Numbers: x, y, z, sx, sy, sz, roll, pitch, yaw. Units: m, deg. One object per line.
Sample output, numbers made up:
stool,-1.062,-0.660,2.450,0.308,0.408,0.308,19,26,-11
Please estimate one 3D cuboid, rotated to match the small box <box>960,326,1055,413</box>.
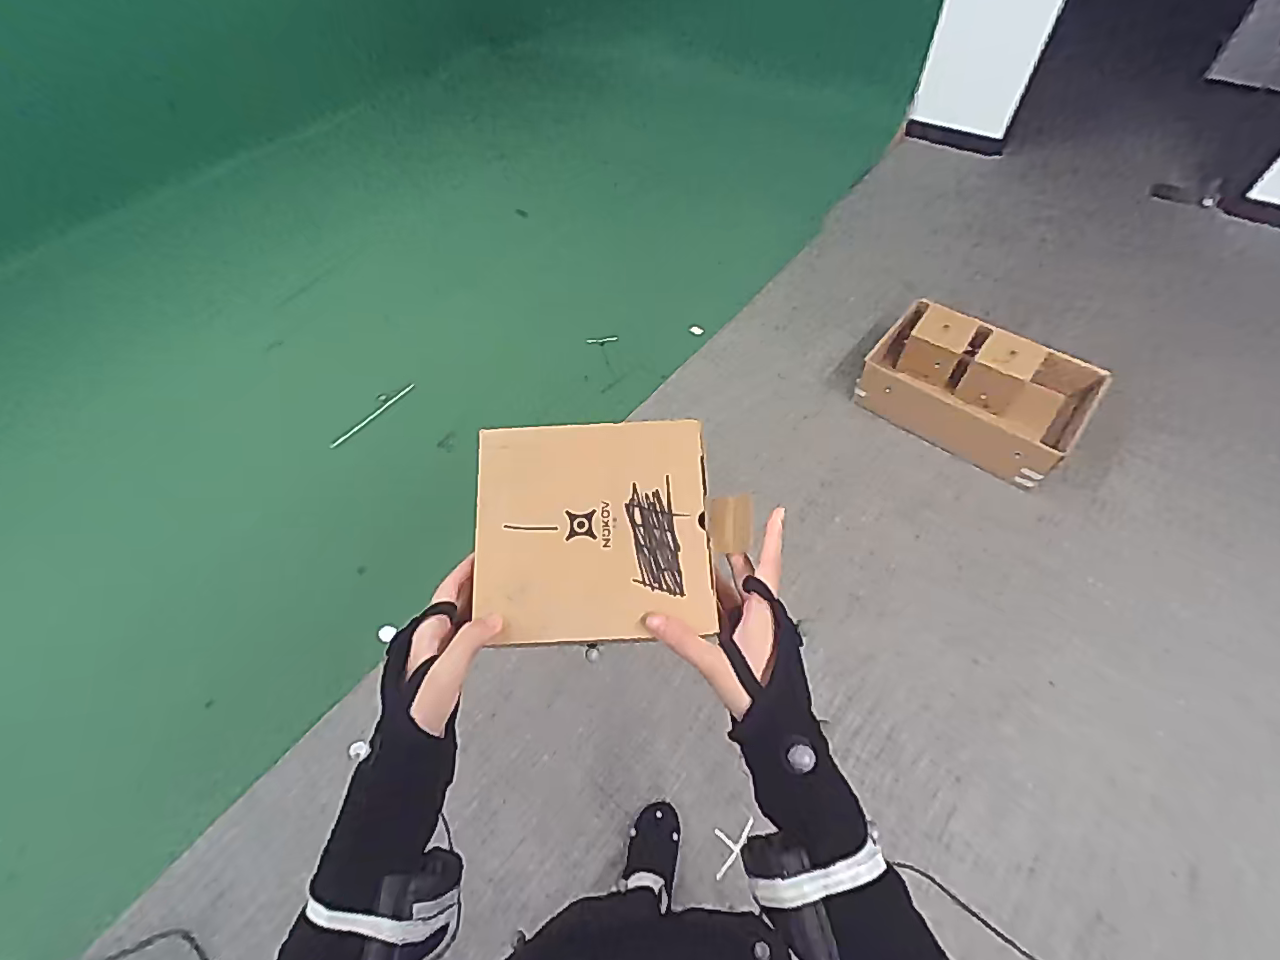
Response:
small box,1.157,-0.349,1.717,0.168,0.176,0.179,34,67,26
